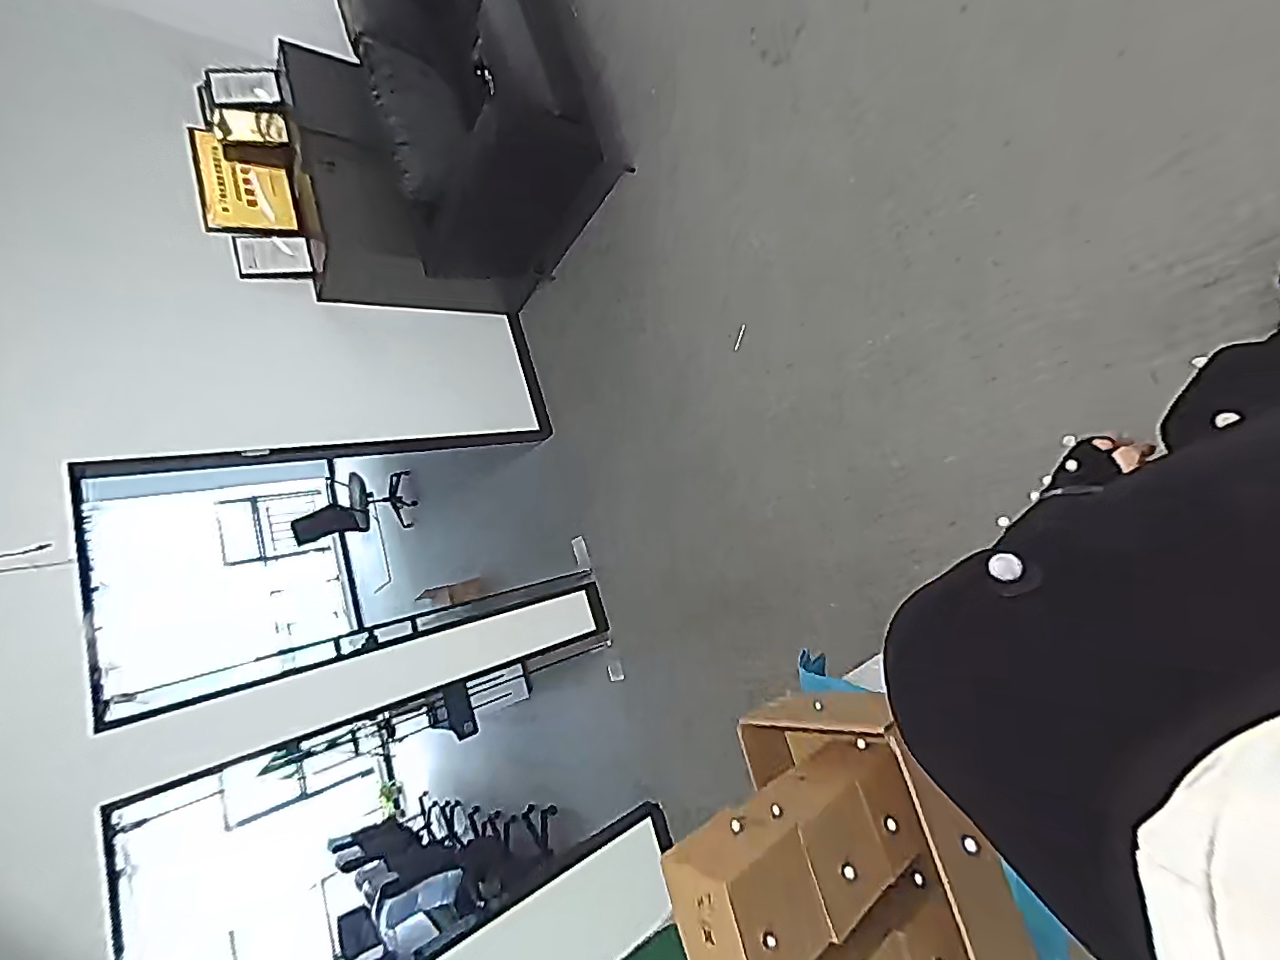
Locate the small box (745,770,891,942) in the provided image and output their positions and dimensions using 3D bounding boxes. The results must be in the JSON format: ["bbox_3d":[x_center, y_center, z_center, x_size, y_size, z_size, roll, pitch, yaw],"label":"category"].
[{"bbox_3d":[0.313,0.653,0.965,0.168,0.176,0.179,-31,75,50],"label":"small box"}]

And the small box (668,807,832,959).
[{"bbox_3d":[0.177,0.671,0.871,0.168,0.176,0.179,-28,75,51],"label":"small box"}]
